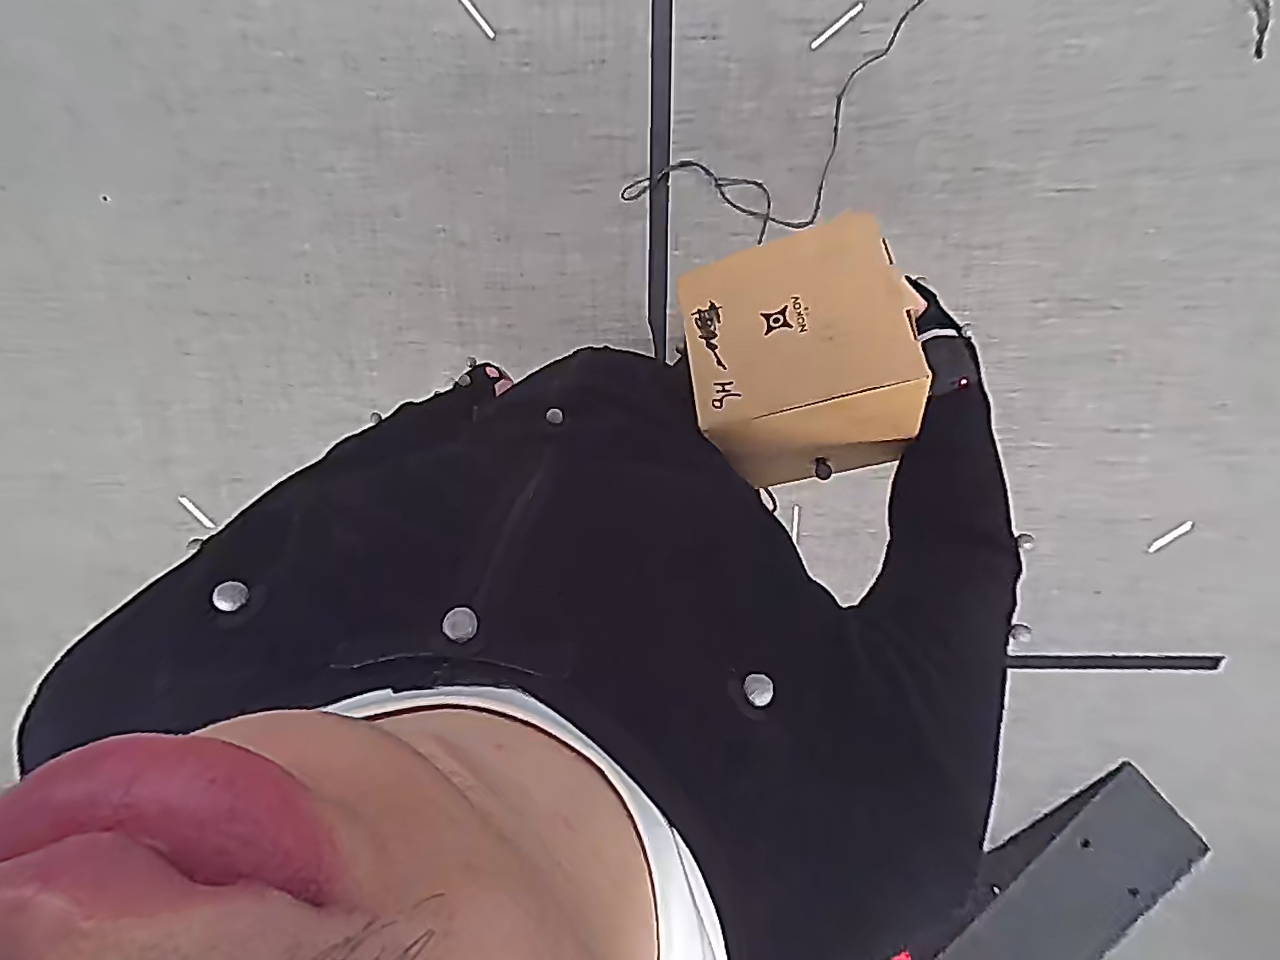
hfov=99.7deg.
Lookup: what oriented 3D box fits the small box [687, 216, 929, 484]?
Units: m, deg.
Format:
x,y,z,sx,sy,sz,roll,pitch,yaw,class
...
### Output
x,y,z,sx,sy,sz,roll,pitch,yaw,class
0.158,-0.110,0.530,0.179,0.176,0.168,-12,66,18,small box
